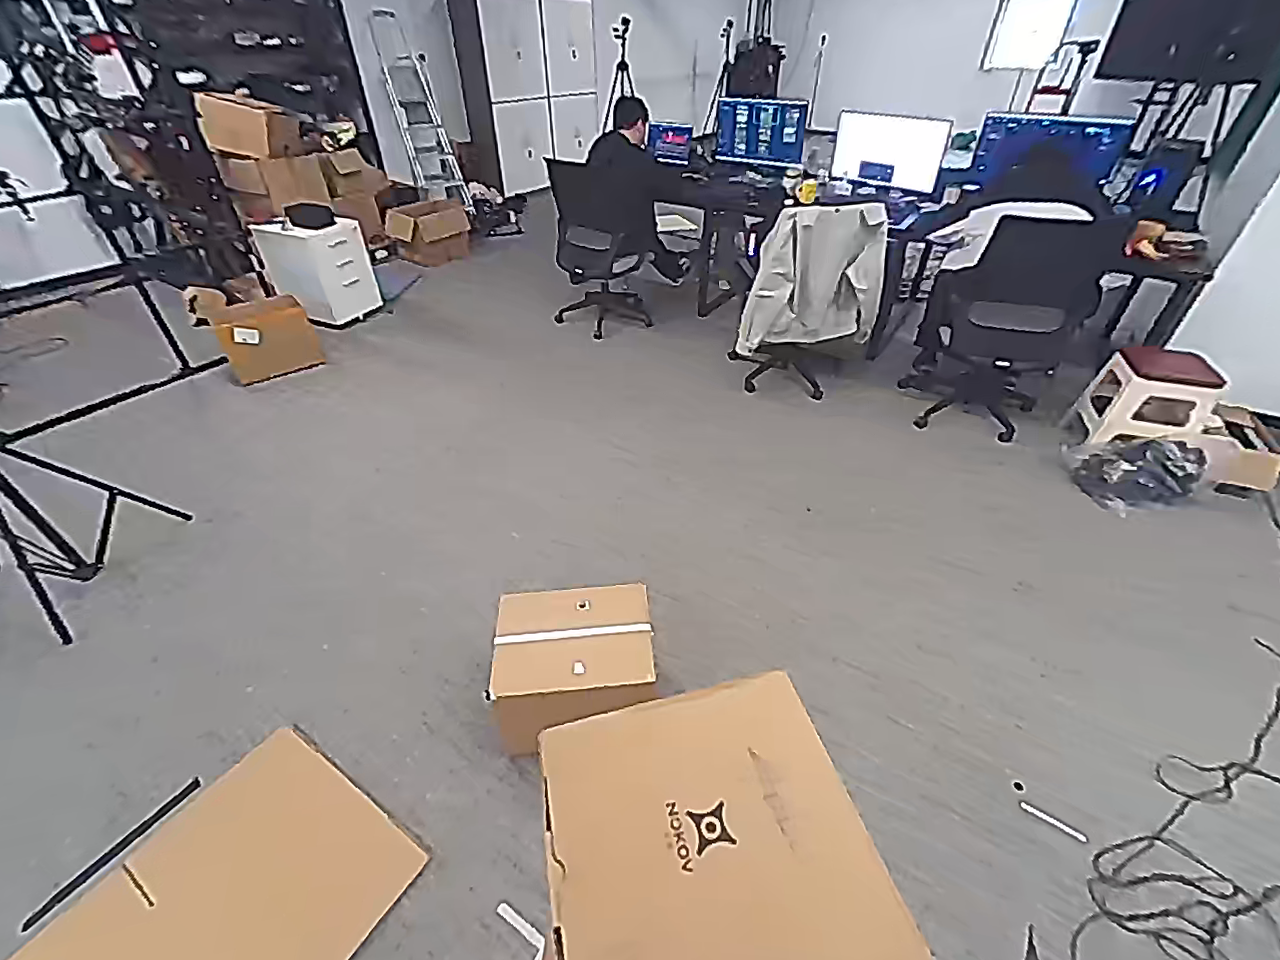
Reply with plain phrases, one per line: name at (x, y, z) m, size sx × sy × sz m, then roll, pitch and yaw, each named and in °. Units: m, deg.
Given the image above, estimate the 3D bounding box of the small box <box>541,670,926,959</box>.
small box at (0.041, 0.260, 0.354) m, size 0.179 × 0.176 × 0.168 m, roll -11°, pitch 39°, yaw -9°
